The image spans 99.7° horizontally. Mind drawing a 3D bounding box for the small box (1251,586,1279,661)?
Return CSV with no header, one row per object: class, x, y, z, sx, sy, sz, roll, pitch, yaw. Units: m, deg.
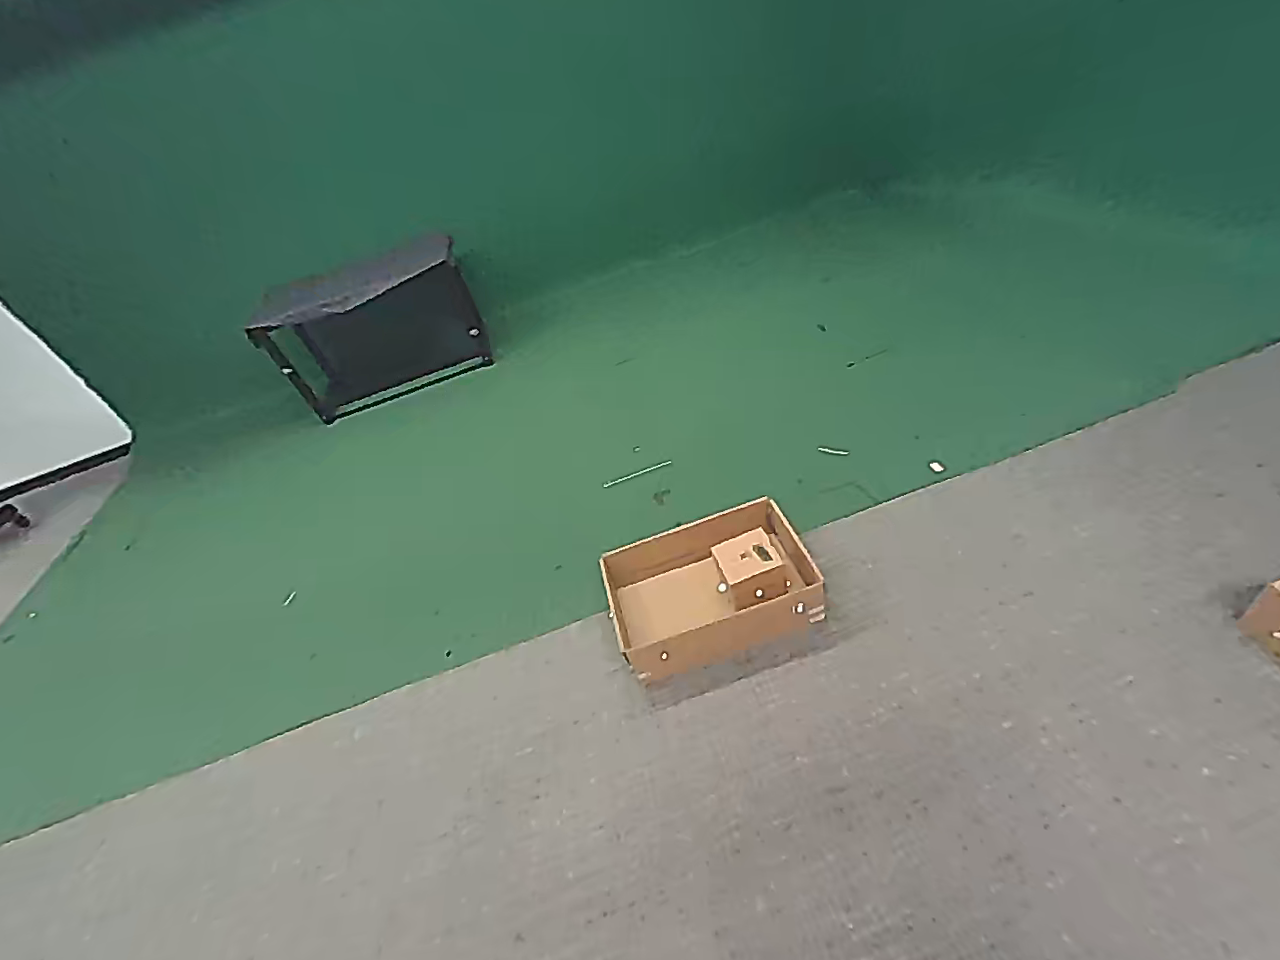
small box,1.556,0.340,1.218,0.179,0.176,0.168,-13,39,8
